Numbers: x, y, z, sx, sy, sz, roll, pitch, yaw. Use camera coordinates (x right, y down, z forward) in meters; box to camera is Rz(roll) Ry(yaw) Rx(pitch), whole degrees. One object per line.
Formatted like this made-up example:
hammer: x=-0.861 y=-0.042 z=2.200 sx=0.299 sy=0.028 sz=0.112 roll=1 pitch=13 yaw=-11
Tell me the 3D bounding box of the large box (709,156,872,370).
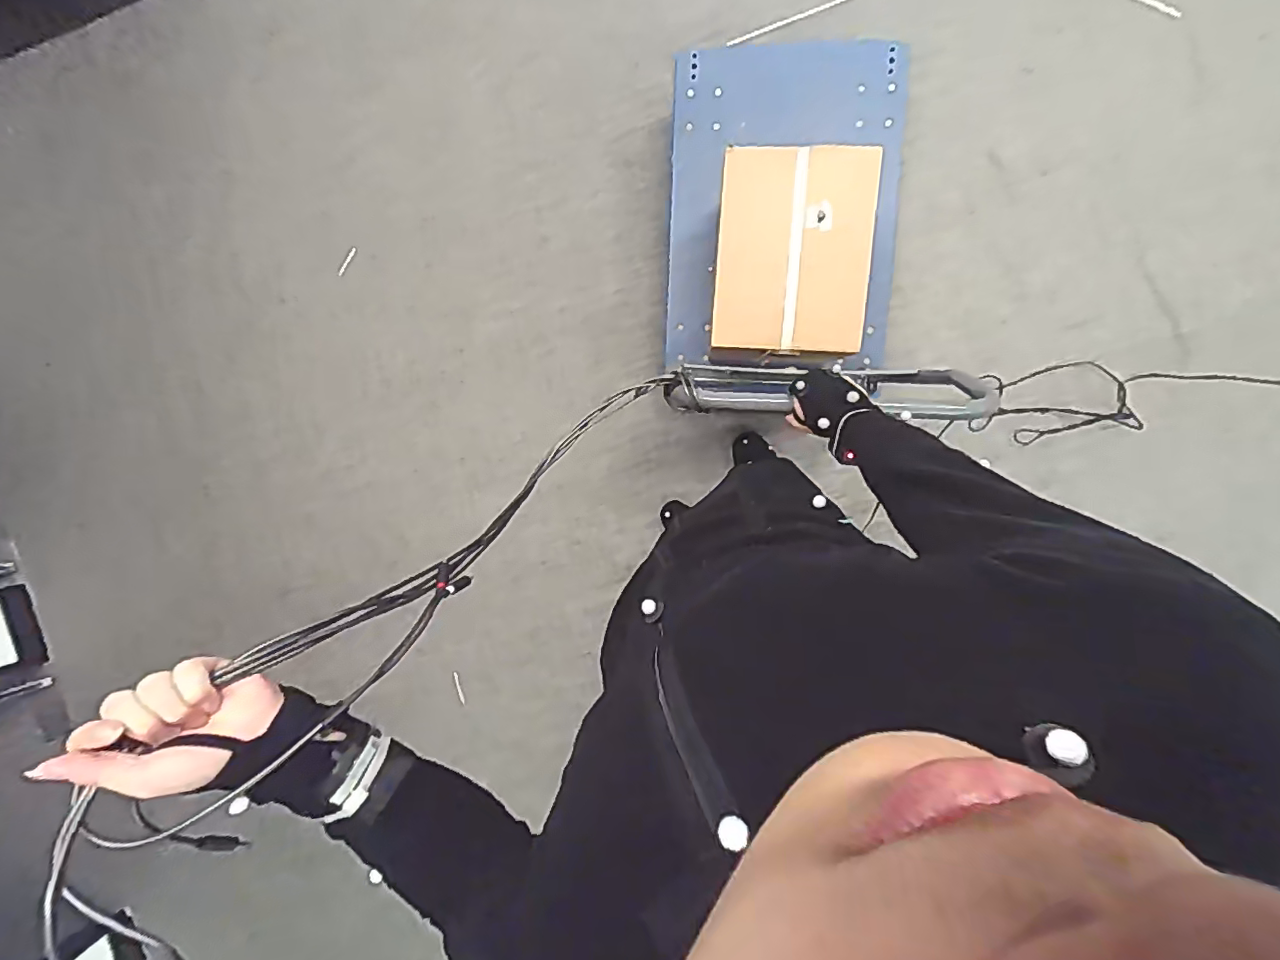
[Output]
large box: x=0.327 y=-0.481 z=1.277 sx=0.320 sy=0.320 sz=0.408 roll=4 pitch=96 yaw=5
